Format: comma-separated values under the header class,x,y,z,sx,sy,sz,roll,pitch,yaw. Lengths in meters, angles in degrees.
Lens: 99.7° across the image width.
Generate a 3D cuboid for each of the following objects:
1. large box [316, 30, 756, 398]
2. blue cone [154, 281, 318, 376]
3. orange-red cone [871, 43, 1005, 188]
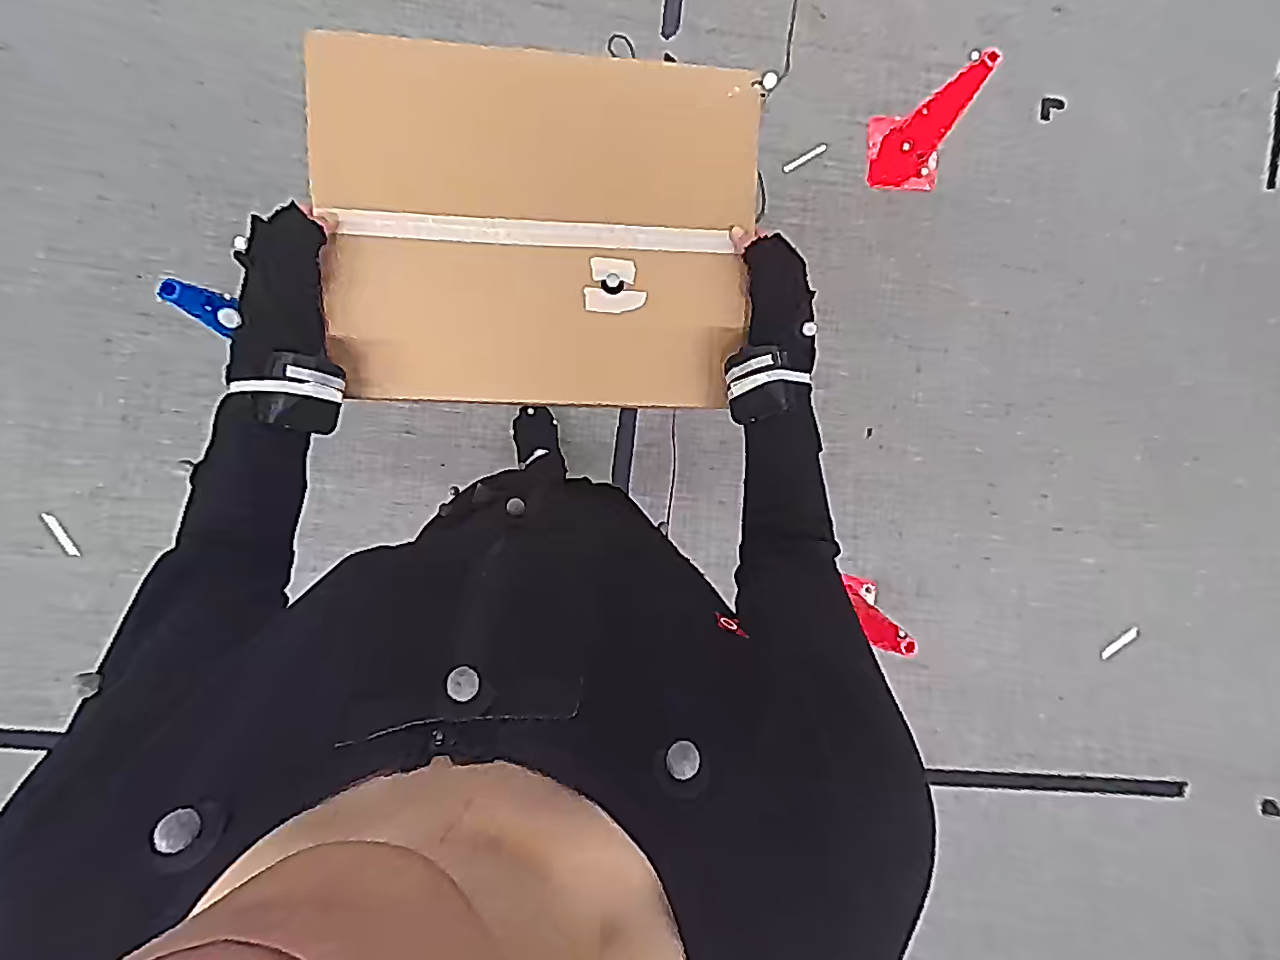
class,x,y,z,sx,sy,sz,roll,pitch,yaw
large box,-0.106,-0.260,0.656,0.408,0.320,0.320,0,98,-6
blue cone,-0.934,-0.372,1.244,0.192,0.380,0.193,9,89,-3
orange-red cone,0.762,-0.932,1.351,0.198,0.360,0.199,3,88,-5
